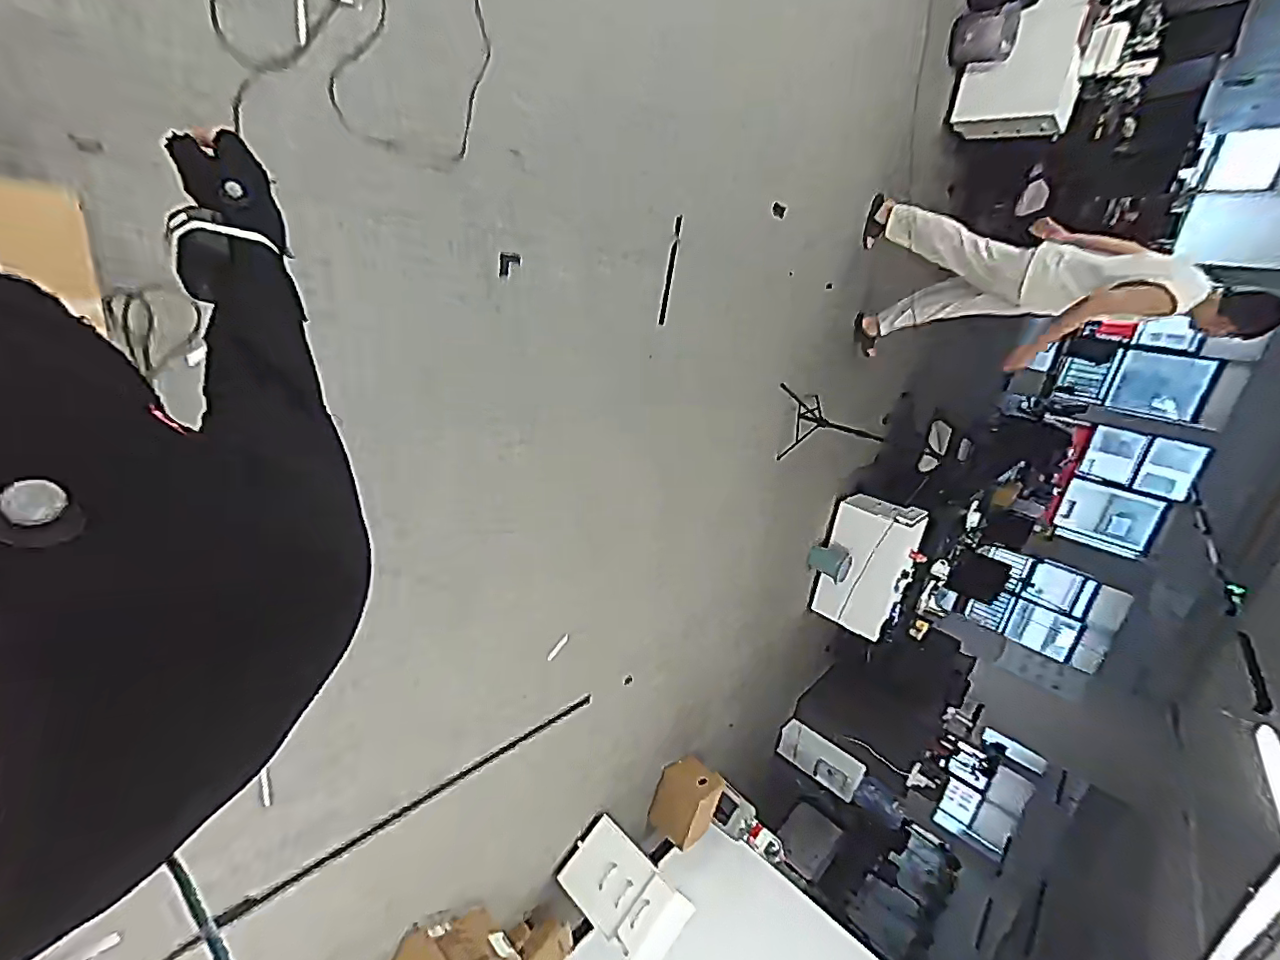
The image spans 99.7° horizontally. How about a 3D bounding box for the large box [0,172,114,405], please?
[{"bbox_3d":[-1.056,-0.283,0.753,0.408,0.320,0.320,-13,118,-47],"label":"large box"}]
